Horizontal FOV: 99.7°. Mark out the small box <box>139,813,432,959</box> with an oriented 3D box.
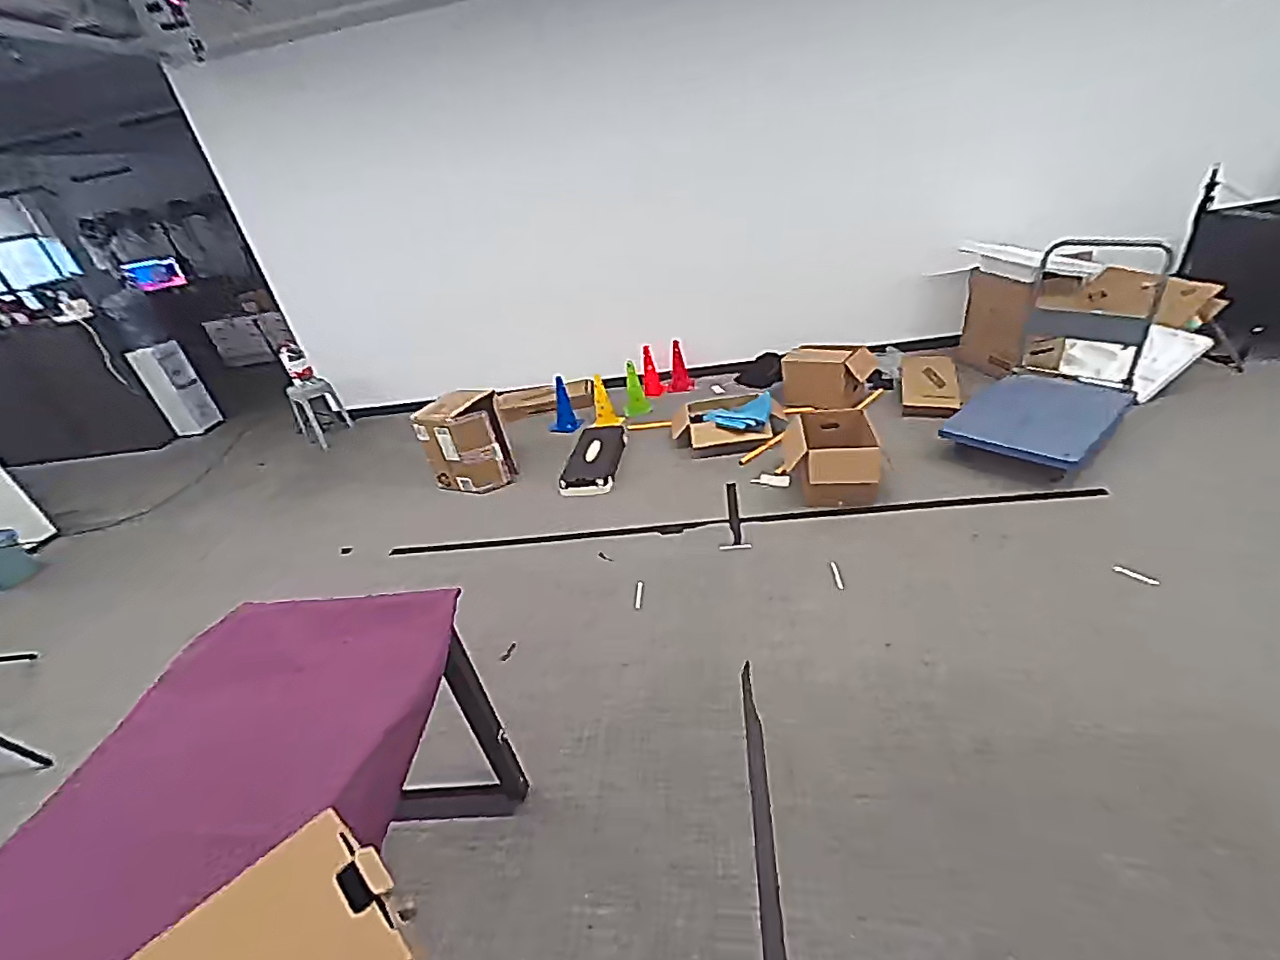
[{"bbox_3d":[-0.293,0.452,0.470,0.168,0.176,0.179,29,44,34],"label":"small box"}]
